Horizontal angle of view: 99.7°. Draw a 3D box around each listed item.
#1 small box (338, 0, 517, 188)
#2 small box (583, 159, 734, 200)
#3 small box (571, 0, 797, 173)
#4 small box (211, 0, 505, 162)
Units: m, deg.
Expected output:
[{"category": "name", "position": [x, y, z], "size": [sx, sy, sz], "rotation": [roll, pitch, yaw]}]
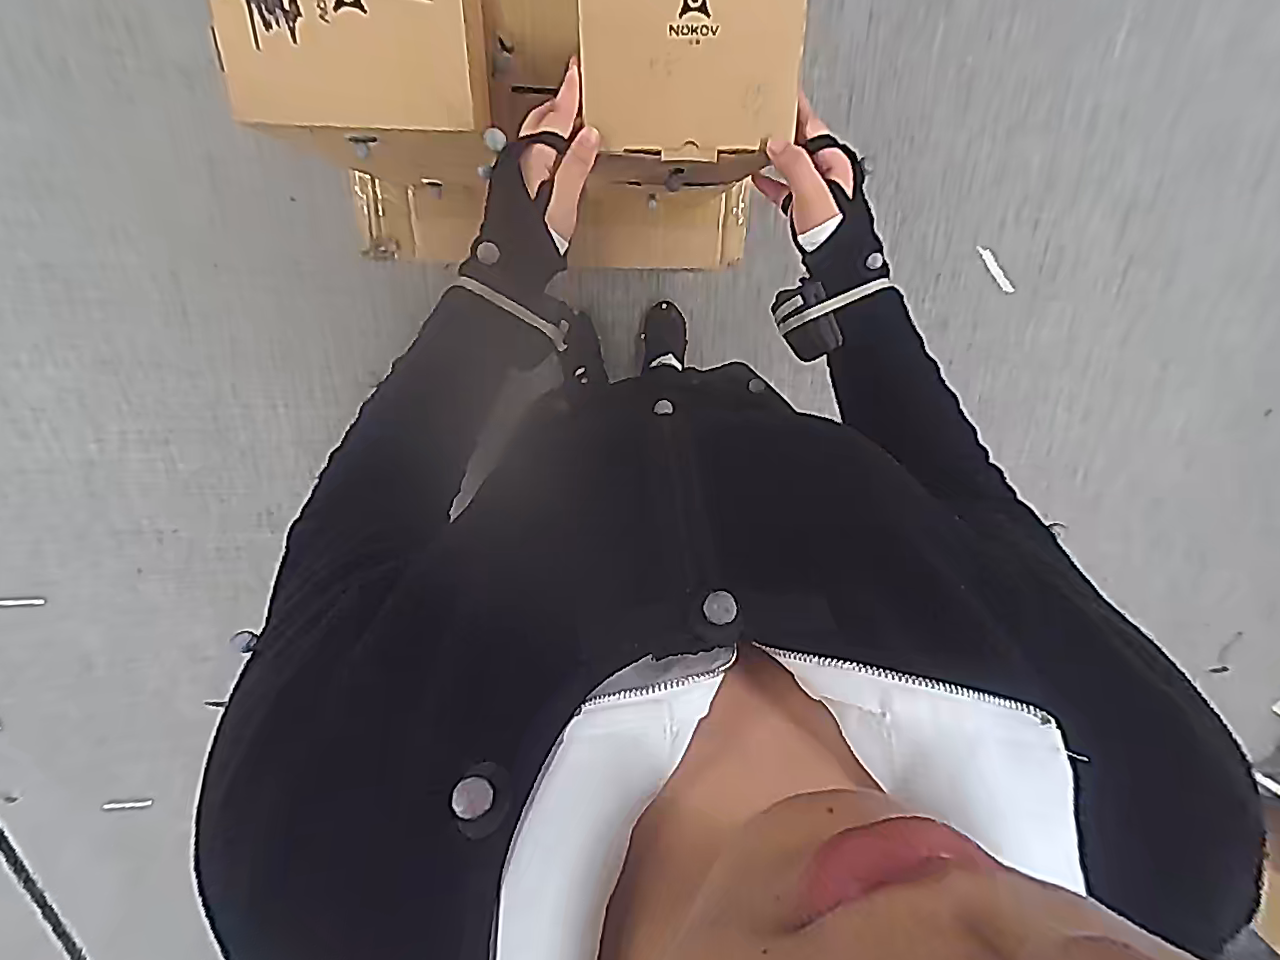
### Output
[{"category": "small box", "position": [-0.234, -0.437, 0.603], "size": [0.168, 0.176, 0.179], "rotation": [-1, 113, -4]}, {"category": "small box", "position": [0.018, -0.433, 0.623], "size": [0.168, 0.176, 0.179], "rotation": [0, 112, -3]}, {"category": "small box", "position": [0.030, -0.369, 0.465], "size": [0.168, 0.176, 0.179], "rotation": [-2, 114, -2]}, {"category": "small box", "position": [-0.219, -0.374, 0.452], "size": [0.179, 0.176, 0.168], "rotation": [-2, 112, -5]}]
